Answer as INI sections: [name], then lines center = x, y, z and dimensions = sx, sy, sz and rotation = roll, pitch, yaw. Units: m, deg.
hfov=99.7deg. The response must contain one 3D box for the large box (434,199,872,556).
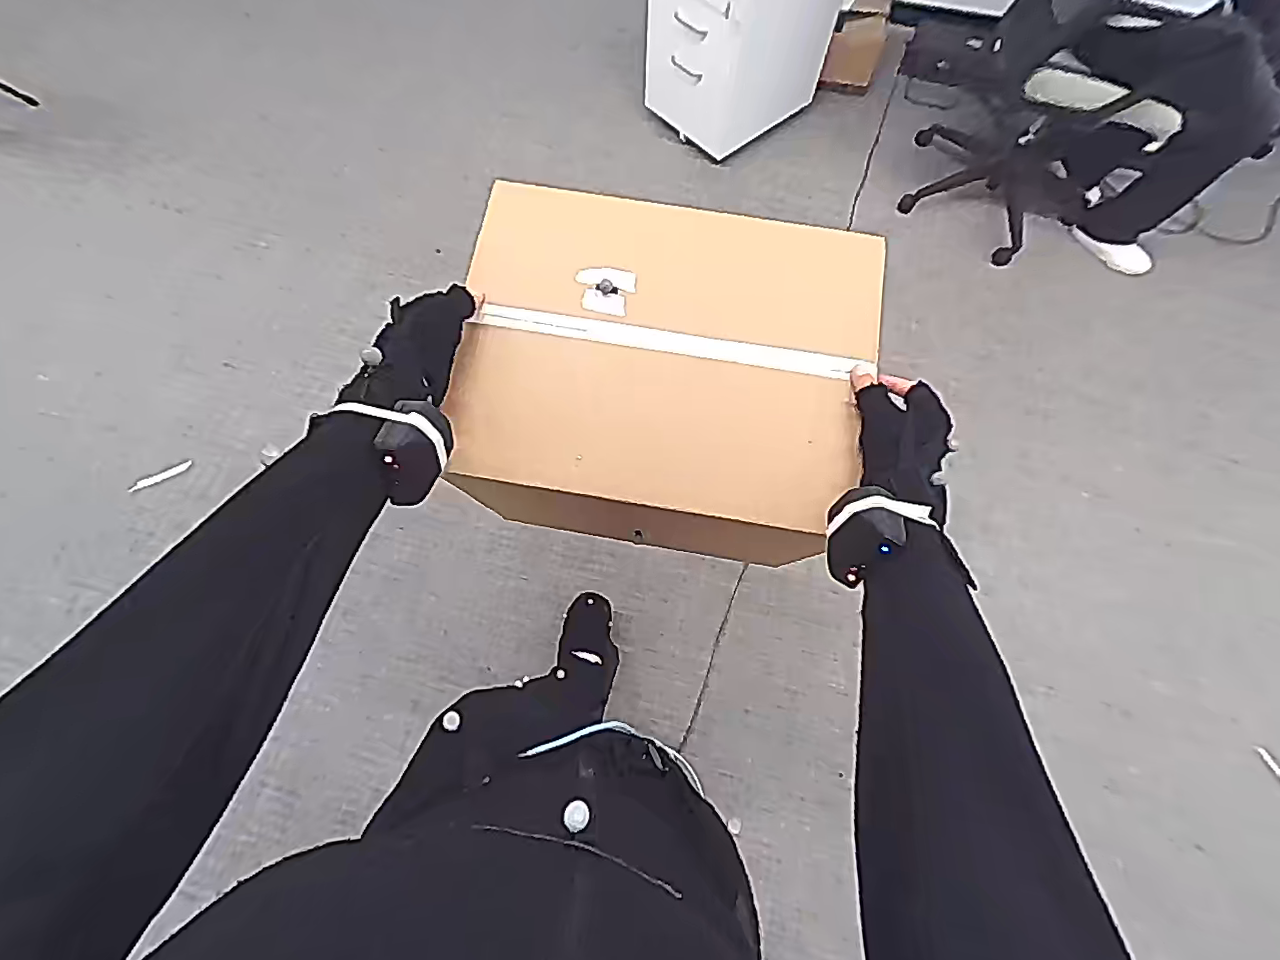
[large box]
center = 0.027, -0.094, 0.682
dimensions = 0.408, 0.320, 0.320
rotation = 10, 76, 3
